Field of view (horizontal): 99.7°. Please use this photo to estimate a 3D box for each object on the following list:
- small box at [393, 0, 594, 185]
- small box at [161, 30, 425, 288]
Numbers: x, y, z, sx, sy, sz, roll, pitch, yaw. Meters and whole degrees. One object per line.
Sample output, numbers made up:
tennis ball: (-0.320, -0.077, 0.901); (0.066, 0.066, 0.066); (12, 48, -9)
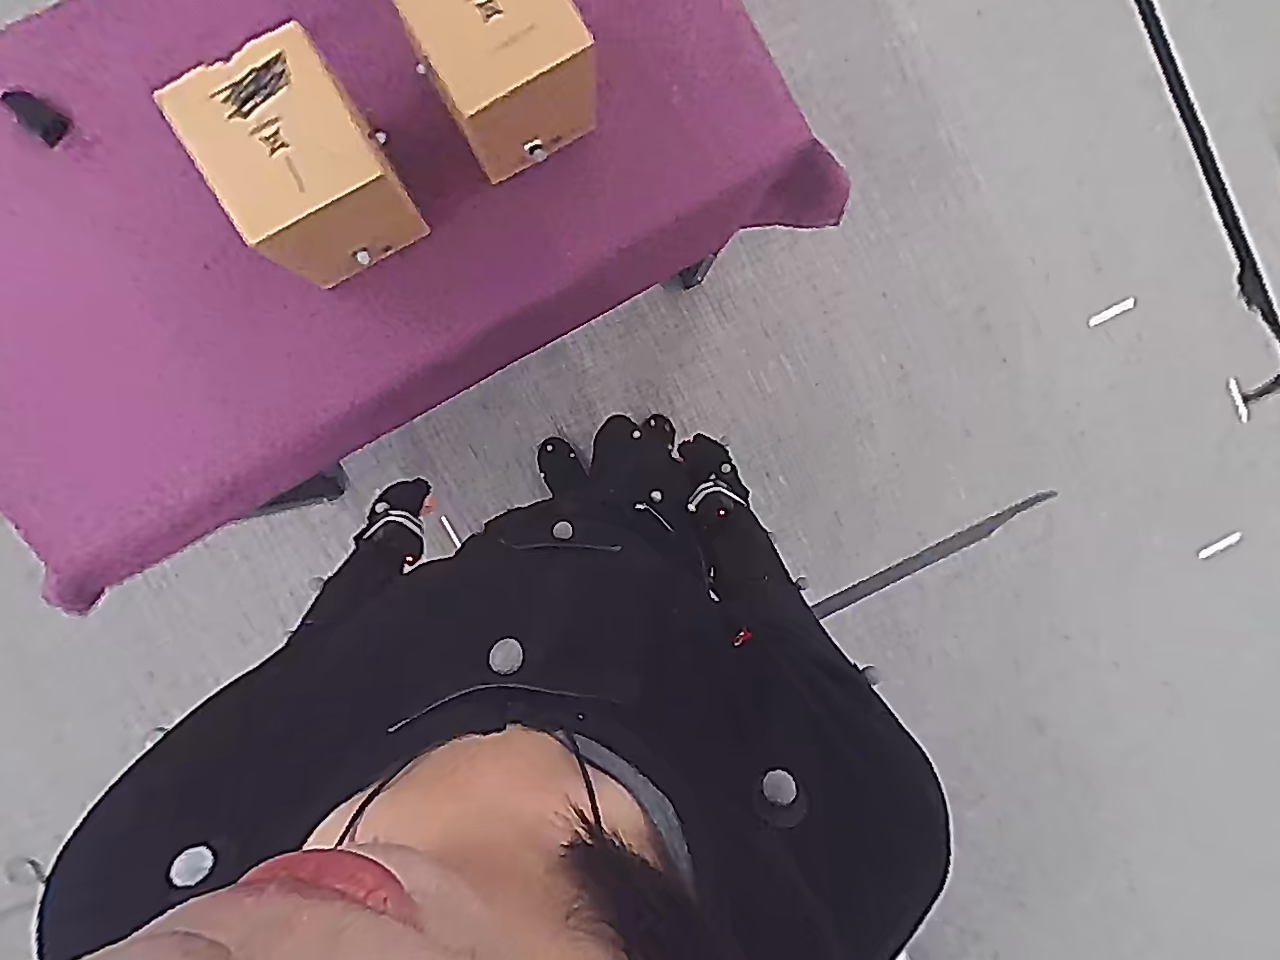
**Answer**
small box: (-0.170, -0.510, 0.661); (0.168, 0.176, 0.179); (-32, 95, -1)
small box: (-0.392, -0.364, 0.649); (0.168, 0.176, 0.179); (-30, 95, -2)
